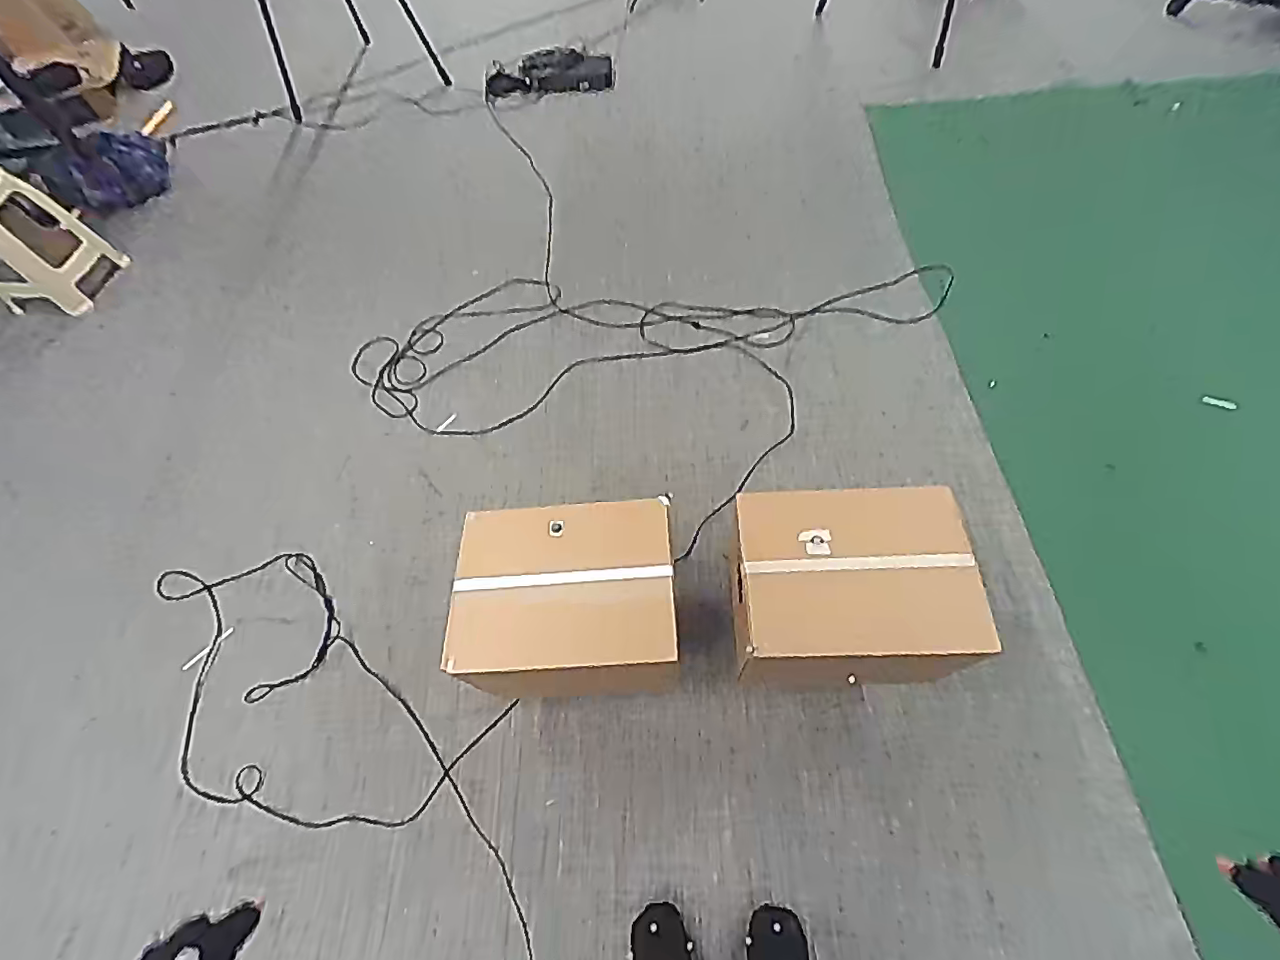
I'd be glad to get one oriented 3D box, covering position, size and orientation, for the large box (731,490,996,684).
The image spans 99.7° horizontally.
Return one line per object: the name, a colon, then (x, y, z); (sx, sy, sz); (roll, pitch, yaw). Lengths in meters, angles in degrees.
large box: (0.408, 0.234, 1.109); (0.408, 0.320, 0.320); (-3, 60, 5)
